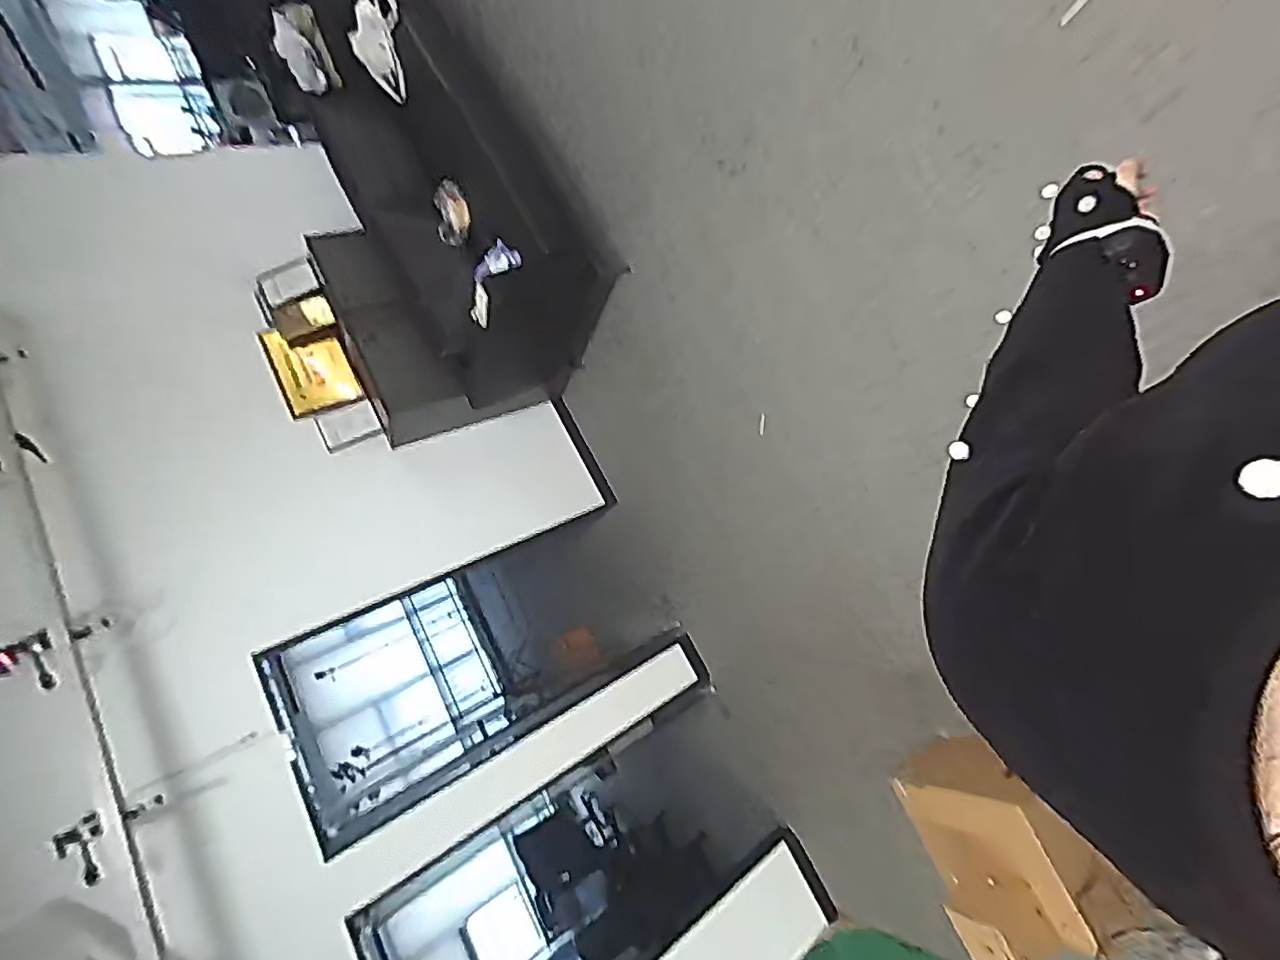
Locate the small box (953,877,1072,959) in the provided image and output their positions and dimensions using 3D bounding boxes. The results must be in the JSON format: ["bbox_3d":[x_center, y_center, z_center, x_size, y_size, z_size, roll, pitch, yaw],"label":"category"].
[{"bbox_3d":[1.010,1.229,1.467,0.168,0.176,0.179,61,153,9],"label":"small box"}]
